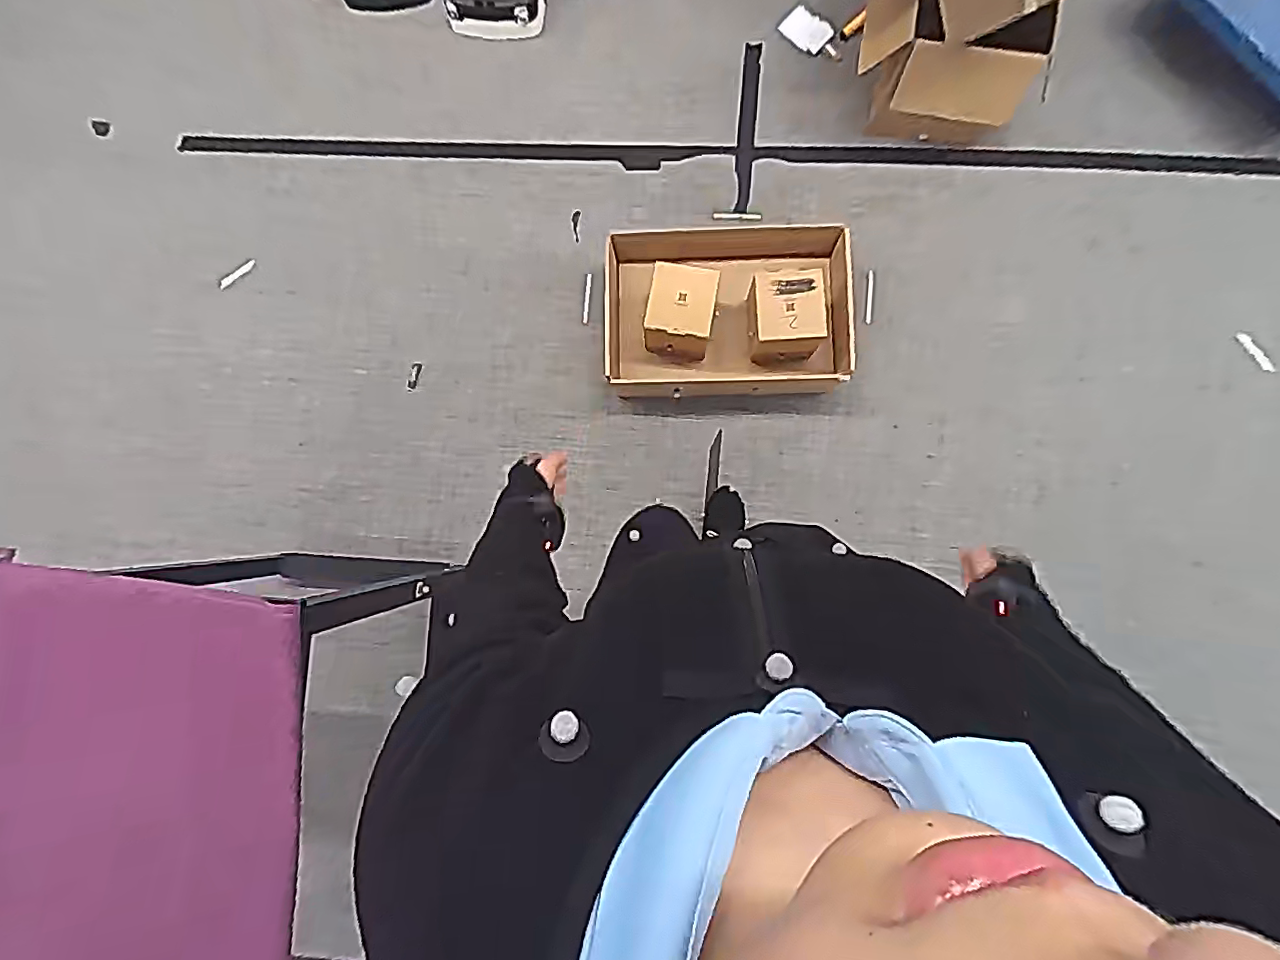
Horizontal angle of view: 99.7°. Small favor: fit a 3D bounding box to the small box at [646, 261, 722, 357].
[{"bbox_3d":[0.111,-0.441,1.415,0.168,0.176,0.179,10,86,3],"label":"small box"}]
